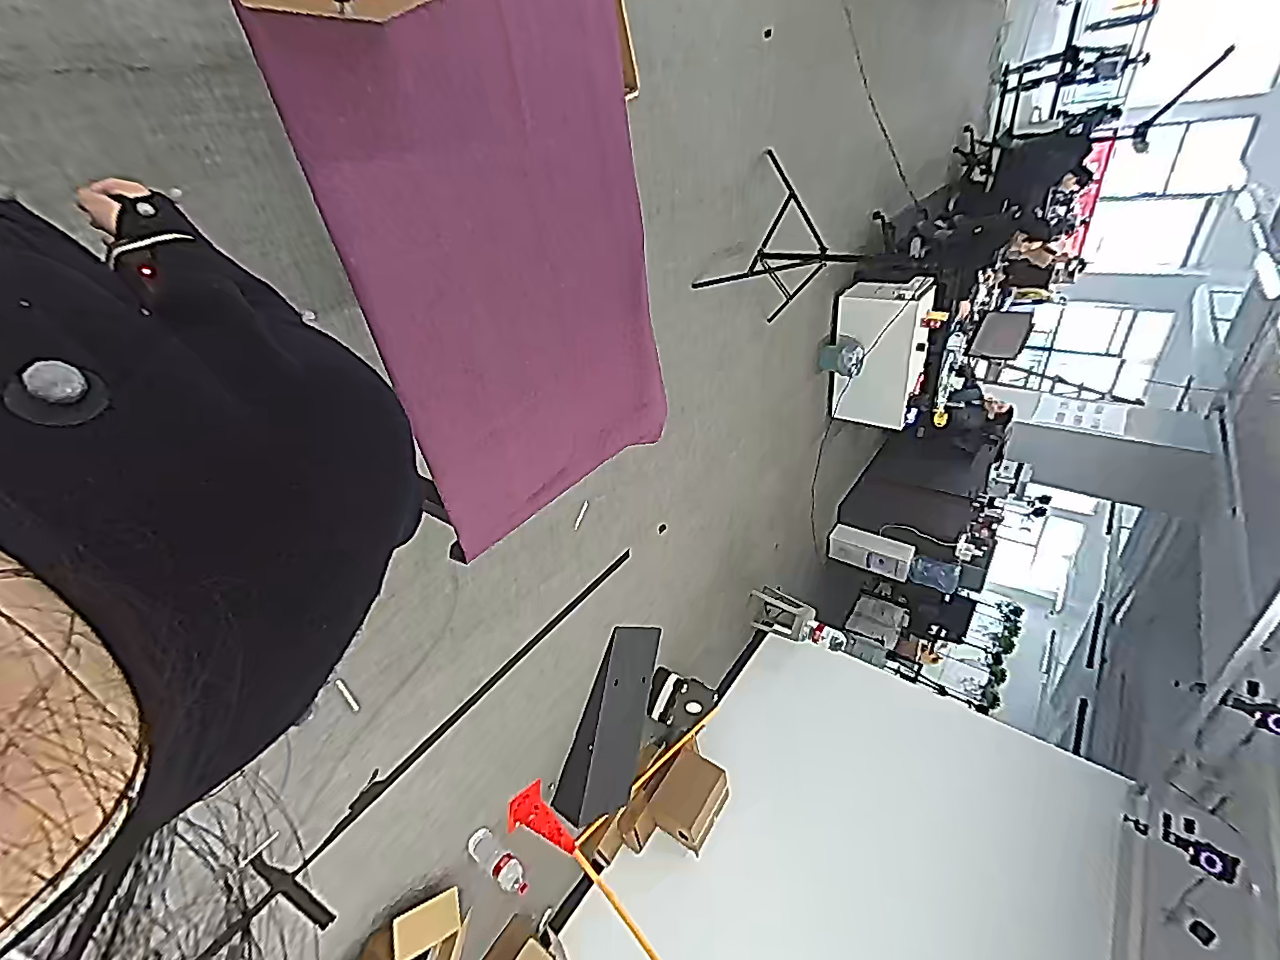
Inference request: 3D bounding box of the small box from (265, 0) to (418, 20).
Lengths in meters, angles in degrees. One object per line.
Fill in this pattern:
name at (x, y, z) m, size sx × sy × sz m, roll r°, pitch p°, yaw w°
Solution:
small box at (-0.318, -0.594, 0.543) m, size 0.168 × 0.176 × 0.179 m, roll -35°, pitch 131°, yaw -40°
